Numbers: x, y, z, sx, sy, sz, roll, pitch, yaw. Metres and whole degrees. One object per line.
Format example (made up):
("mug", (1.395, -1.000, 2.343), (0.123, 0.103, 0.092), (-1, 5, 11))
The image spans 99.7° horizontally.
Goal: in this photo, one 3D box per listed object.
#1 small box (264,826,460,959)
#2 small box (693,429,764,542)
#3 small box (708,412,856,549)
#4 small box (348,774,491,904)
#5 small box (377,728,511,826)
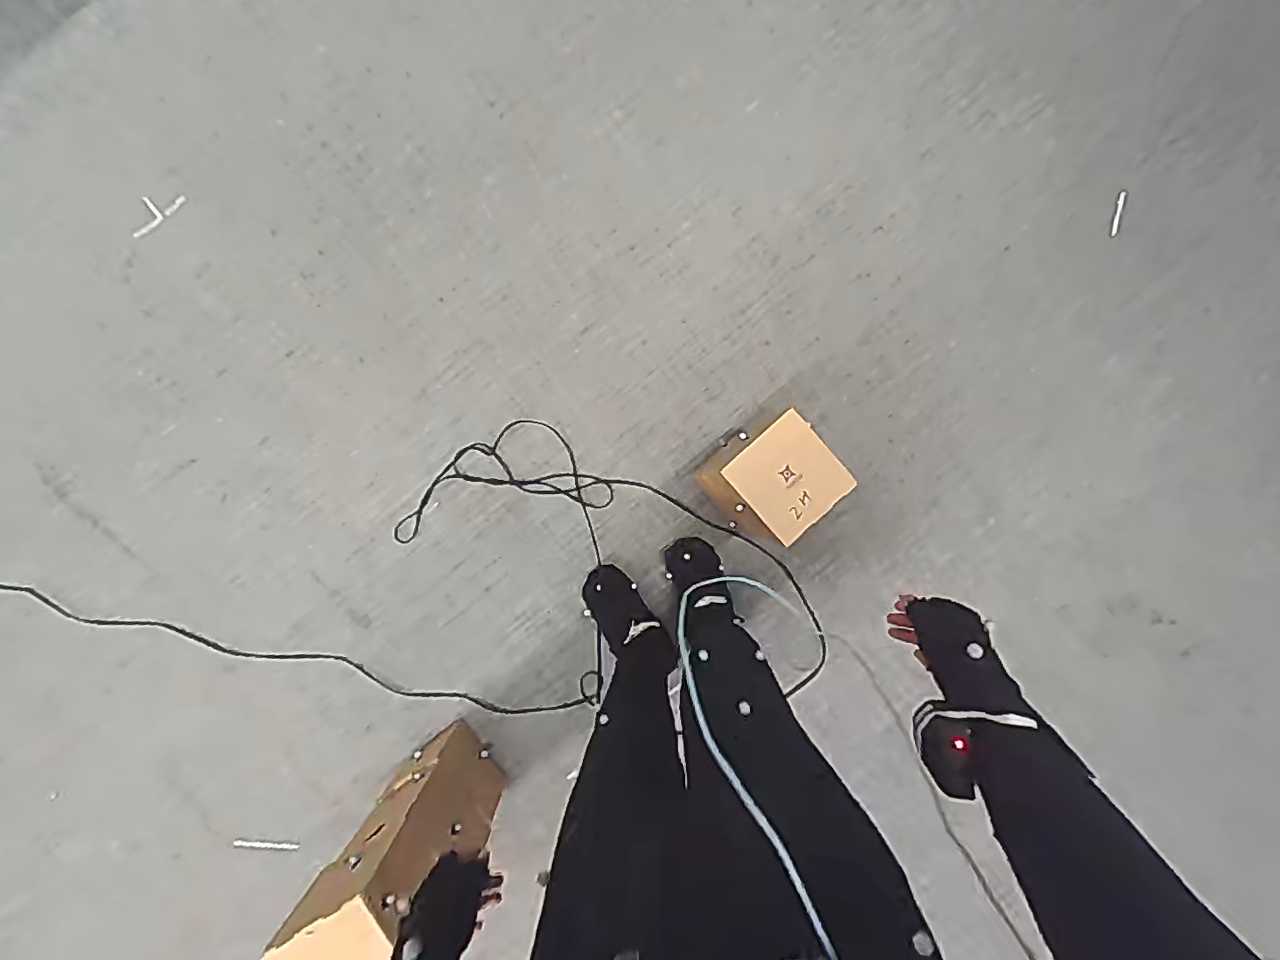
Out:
("small box", (-0.403, 0.683, 0.819), (0.168, 0.176, 0.179), (-32, 92, 0))
("small box", (0.234, 0.005, 1.147), (0.168, 0.176, 0.179), (-41, 92, -1))
("small box", (0.245, 0.000, 0.984), (0.168, 0.176, 0.179), (-41, 93, 0))
("small box", (-0.400, 0.673, 0.981), (0.168, 0.176, 0.179), (-37, 93, 0))
("small box", (-0.405, 0.661, 1.148), (0.168, 0.176, 0.179), (-40, 91, 3))
